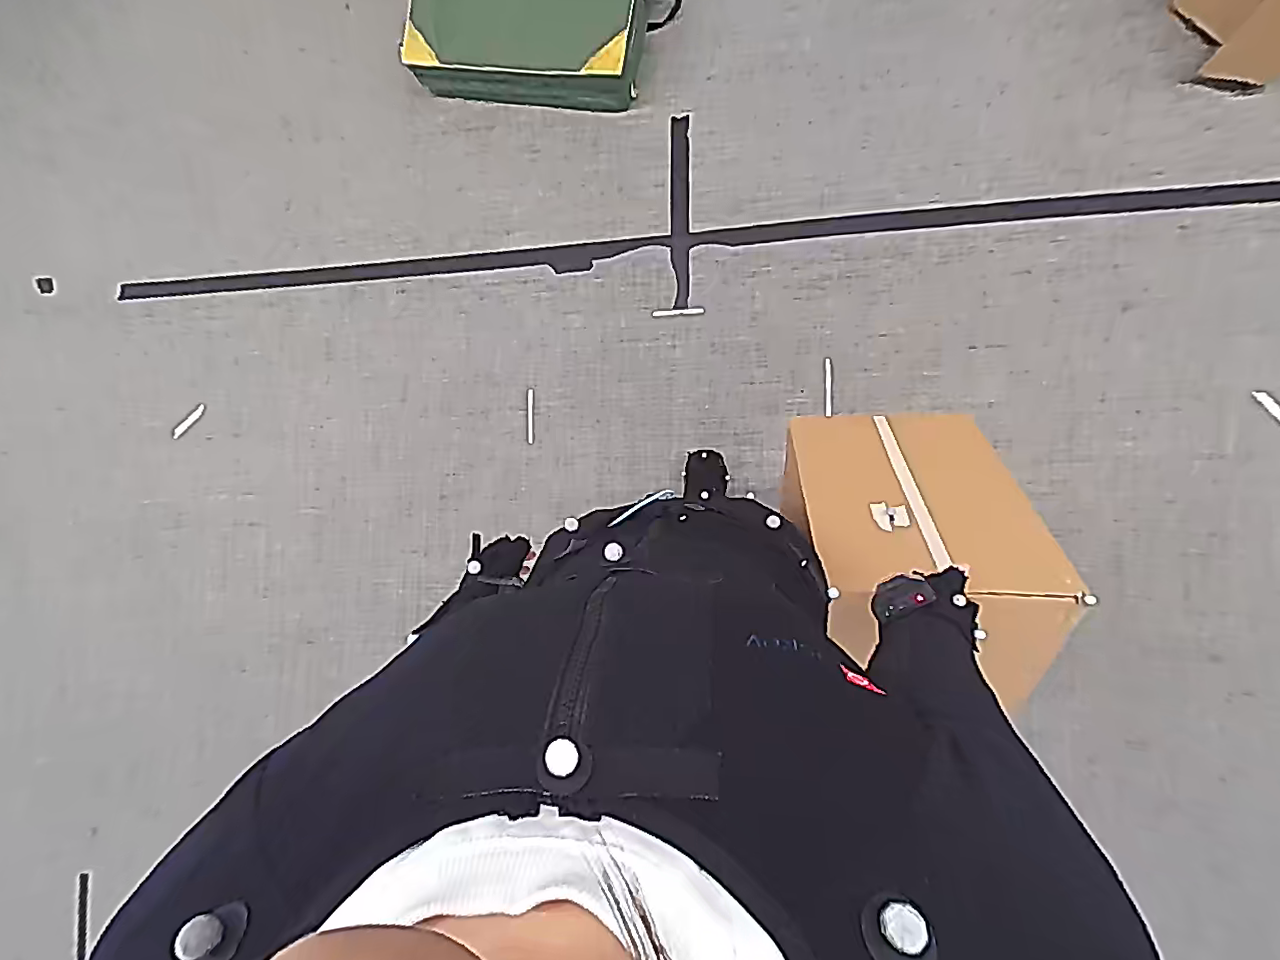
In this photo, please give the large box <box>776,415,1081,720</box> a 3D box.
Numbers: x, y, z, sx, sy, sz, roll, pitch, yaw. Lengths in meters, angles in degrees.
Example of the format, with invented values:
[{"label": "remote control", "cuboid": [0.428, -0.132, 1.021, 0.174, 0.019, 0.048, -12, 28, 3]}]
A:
[{"label": "large box", "cuboid": [0.412, 0.130, 0.910, 0.320, 0.408, 0.320, 0, 130, 9]}]
